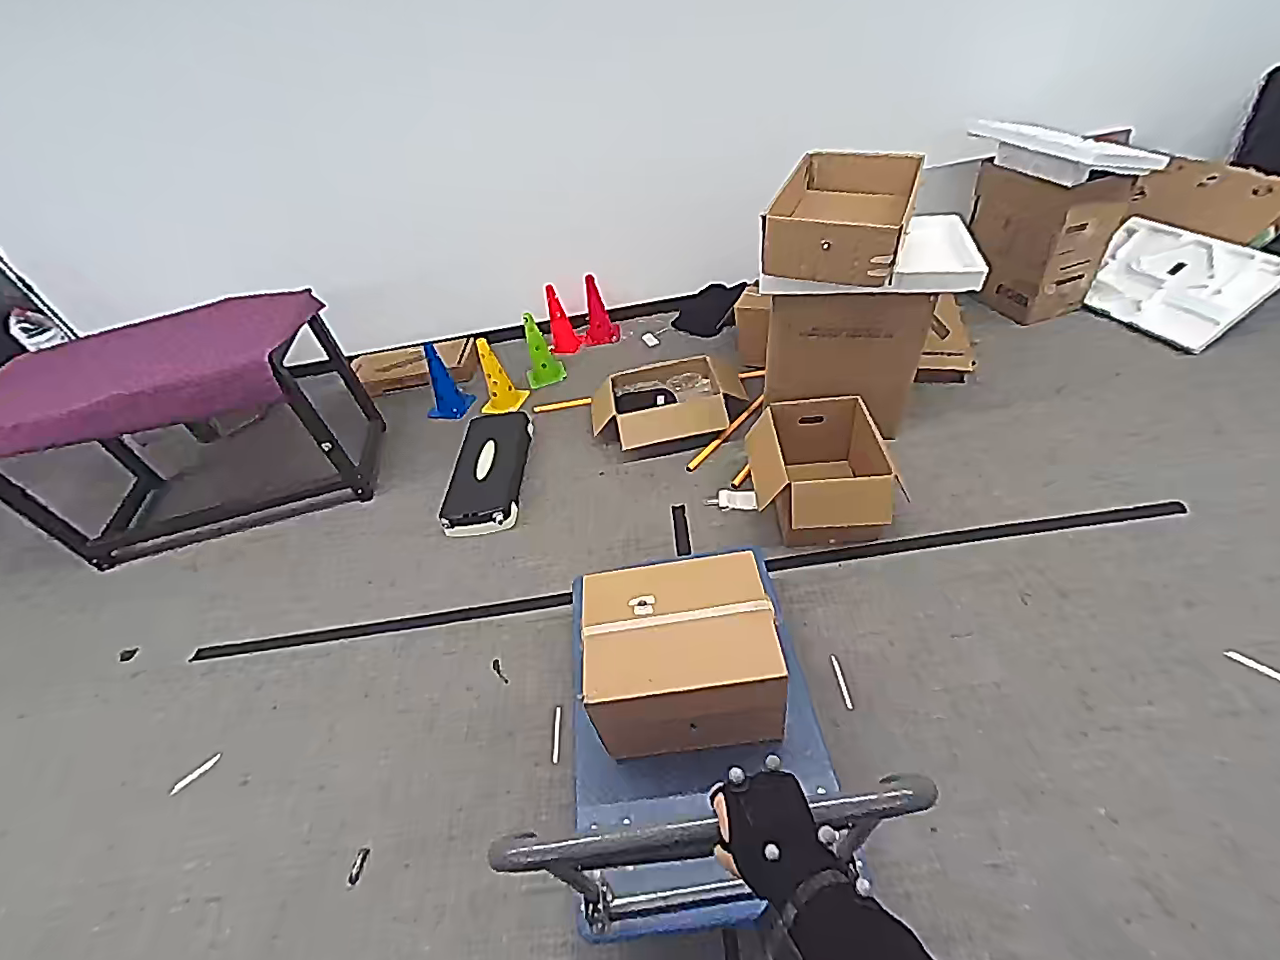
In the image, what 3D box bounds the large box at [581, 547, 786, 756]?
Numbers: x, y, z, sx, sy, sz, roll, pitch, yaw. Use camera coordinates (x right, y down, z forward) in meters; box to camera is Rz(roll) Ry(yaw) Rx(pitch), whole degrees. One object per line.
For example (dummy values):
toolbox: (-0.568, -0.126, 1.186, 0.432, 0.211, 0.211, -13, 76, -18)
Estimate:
large box: (0.096, 0.399, 1.249, 0.408, 0.320, 0.320, -10, 42, 3)
